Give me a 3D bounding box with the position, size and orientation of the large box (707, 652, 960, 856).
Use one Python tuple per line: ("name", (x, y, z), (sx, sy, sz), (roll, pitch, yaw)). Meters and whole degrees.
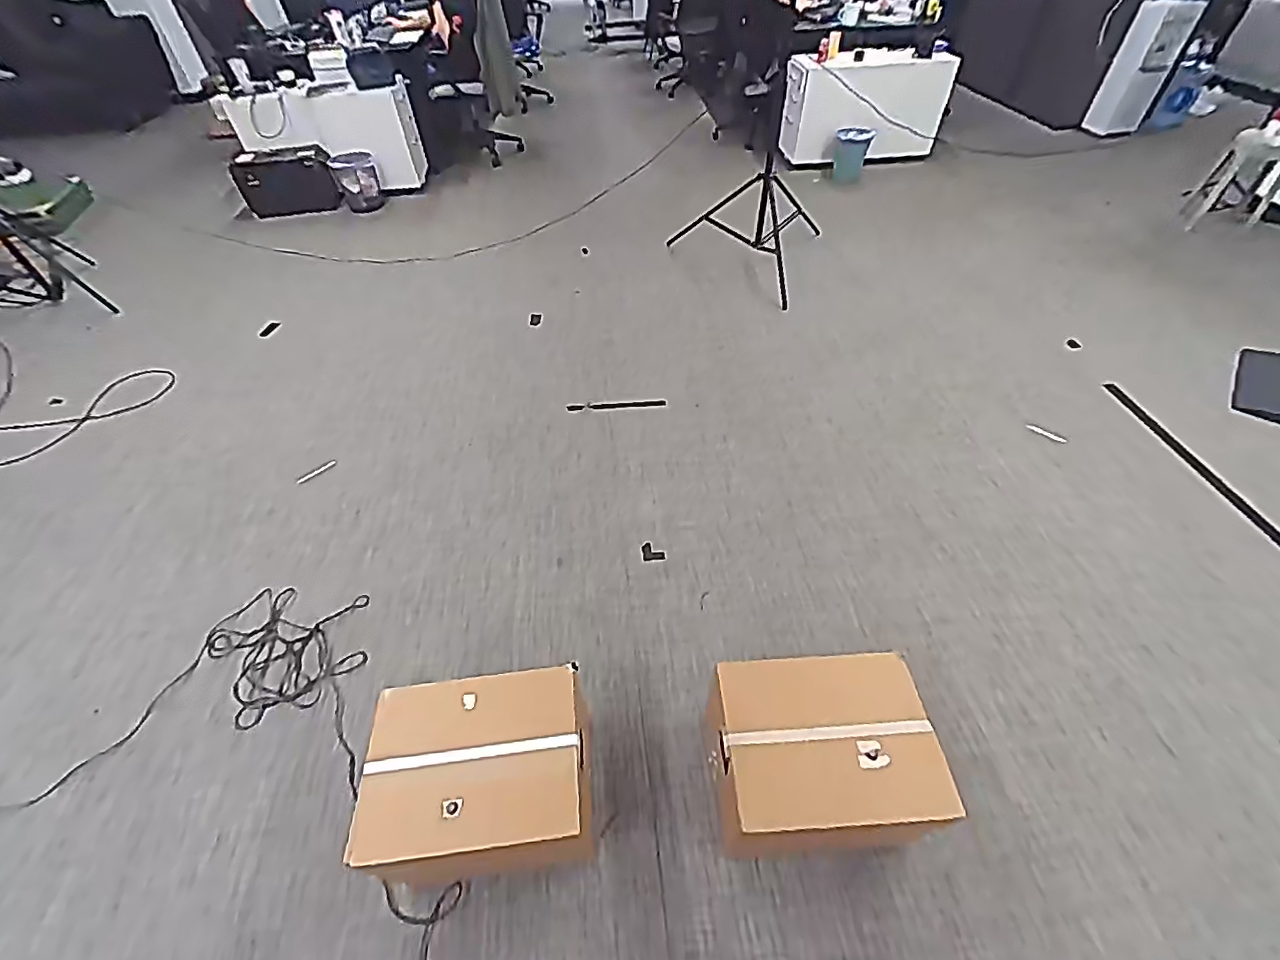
("large box", (0.375, 0.597, 1.177), (0.408, 0.320, 0.320), (-2, 48, -2))
